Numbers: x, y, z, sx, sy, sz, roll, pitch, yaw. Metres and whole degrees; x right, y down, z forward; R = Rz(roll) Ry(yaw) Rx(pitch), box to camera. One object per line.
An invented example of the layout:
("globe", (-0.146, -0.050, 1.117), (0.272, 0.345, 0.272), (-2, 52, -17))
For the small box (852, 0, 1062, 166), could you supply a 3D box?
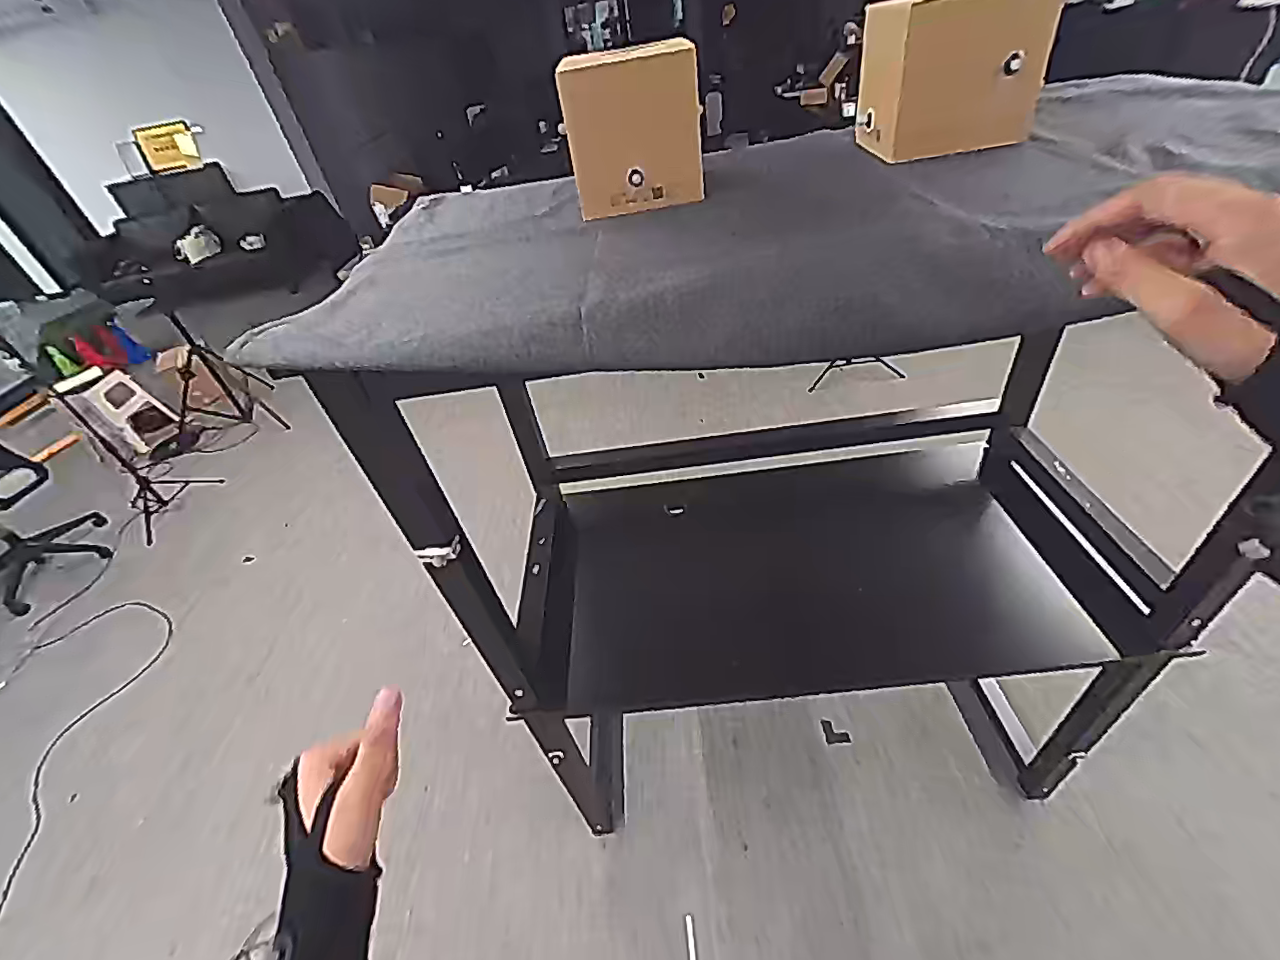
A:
("small box", (0.401, -0.538, 0.720), (0.179, 0.176, 0.168), (-6, 40, 5))
